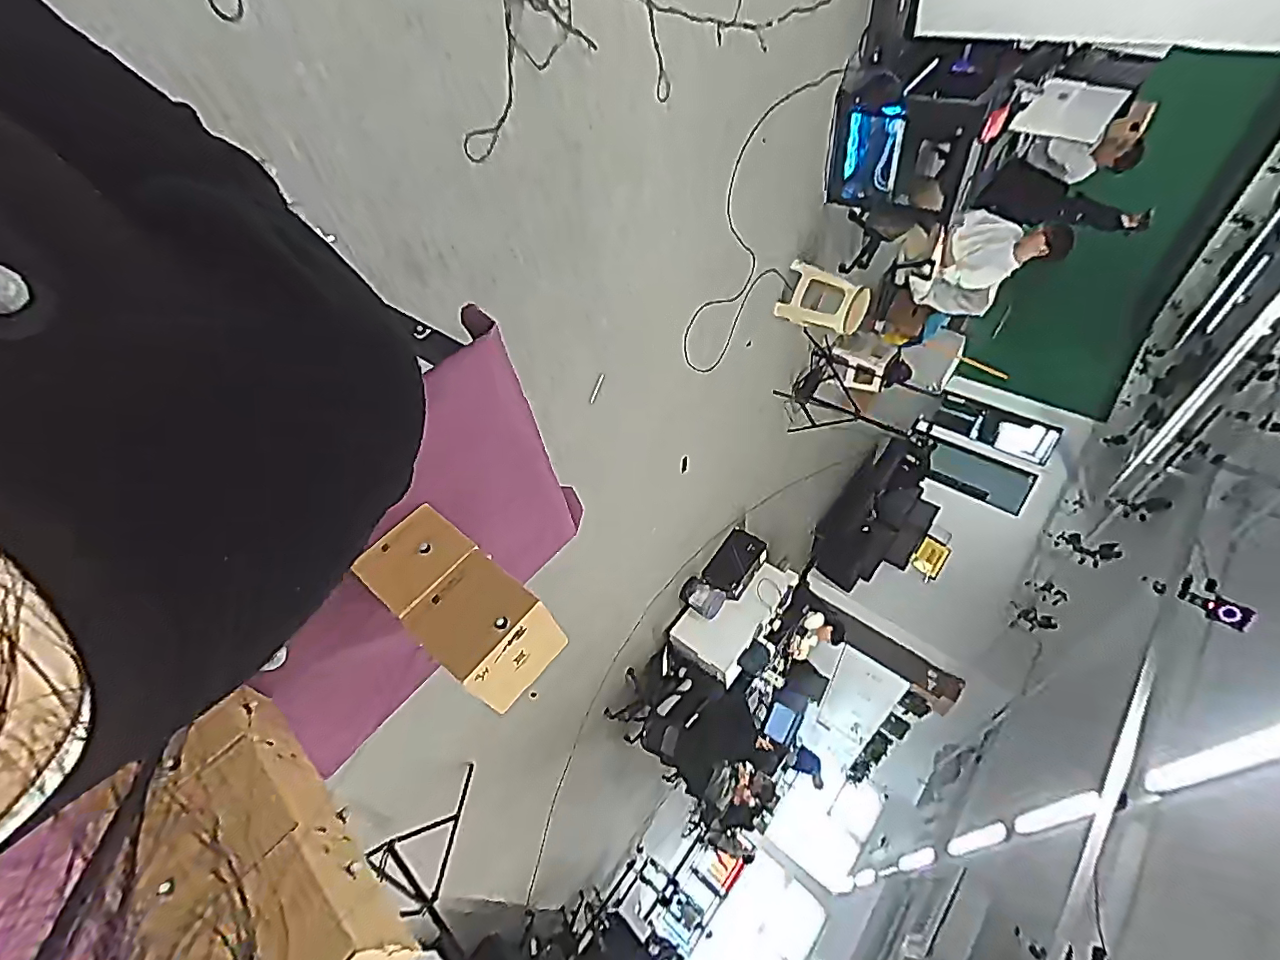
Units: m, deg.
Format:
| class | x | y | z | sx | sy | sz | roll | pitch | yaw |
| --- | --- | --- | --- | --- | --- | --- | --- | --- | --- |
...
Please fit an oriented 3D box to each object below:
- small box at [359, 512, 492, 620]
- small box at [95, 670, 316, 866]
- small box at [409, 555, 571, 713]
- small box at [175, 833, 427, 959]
| class | x | y | z | sx | sy | sz | roll | pitch | yaw |
| --- | --- | --- | --- | --- | --- | --- | --- | --- | --- |
| small box | -0.374 | 0.181 | 0.996 | 0.168 | 0.176 | 0.179 | -46 | 148 | -24 |
| small box | -0.637 | 0.418 | 0.800 | 0.179 | 0.176 | 0.168 | -43 | 145 | -26 |
| small box | -0.250 | 0.257 | 0.920 | 0.168 | 0.176 | 0.179 | -47 | 149 | -23 |
| small box | -0.395 | 0.562 | 0.629 | 0.179 | 0.176 | 0.168 | -45 | 147 | -26 |
